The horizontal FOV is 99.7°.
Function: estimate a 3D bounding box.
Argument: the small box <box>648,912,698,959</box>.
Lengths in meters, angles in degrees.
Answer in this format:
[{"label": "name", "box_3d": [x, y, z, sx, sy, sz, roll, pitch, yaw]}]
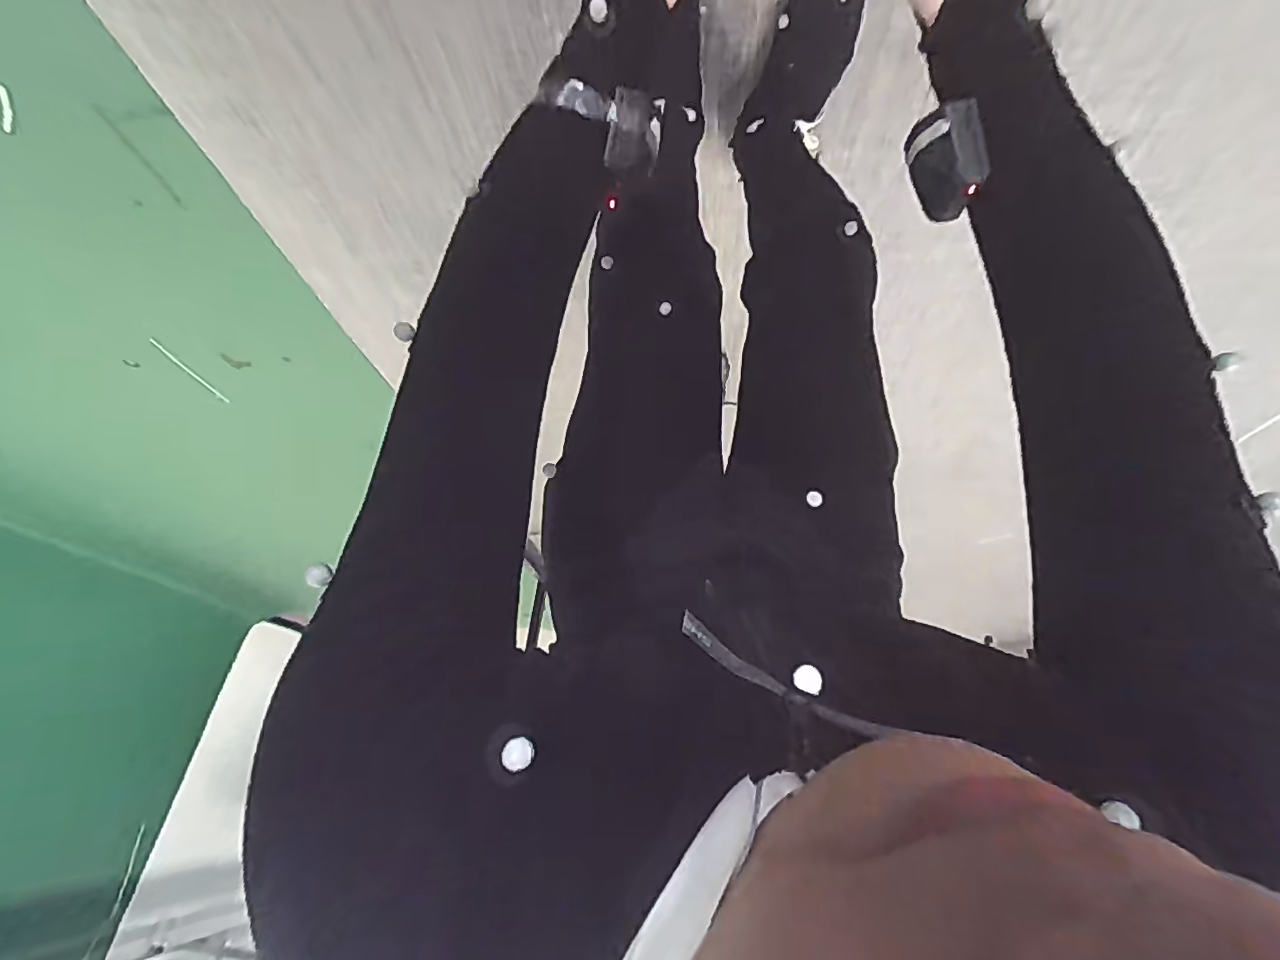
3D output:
[{"label": "small box", "box_3d": [0.124, 1.741, 2.012, 0.179, 0.176, 0.168, 1, 150, 11]}]
